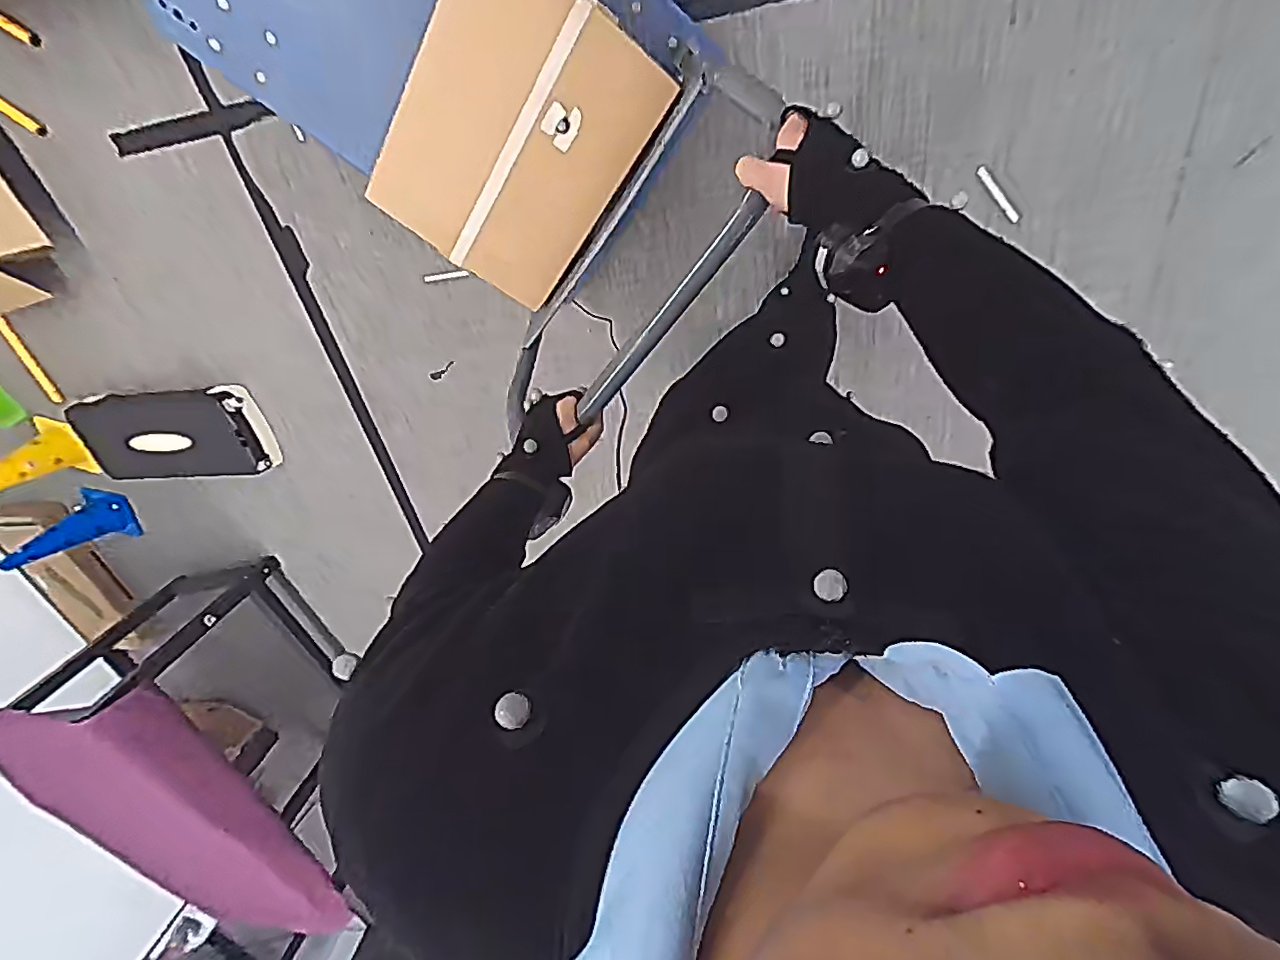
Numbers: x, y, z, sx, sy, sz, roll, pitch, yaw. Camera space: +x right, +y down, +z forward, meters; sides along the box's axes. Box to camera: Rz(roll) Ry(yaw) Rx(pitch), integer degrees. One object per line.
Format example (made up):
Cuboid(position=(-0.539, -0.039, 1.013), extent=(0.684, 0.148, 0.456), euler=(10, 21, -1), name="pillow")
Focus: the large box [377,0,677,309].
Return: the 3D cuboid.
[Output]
Cuboid(position=(-0.178, -0.585, 0.924), extent=(0.320, 0.320, 0.408), euler=(30, 122, -20), name="large box")
